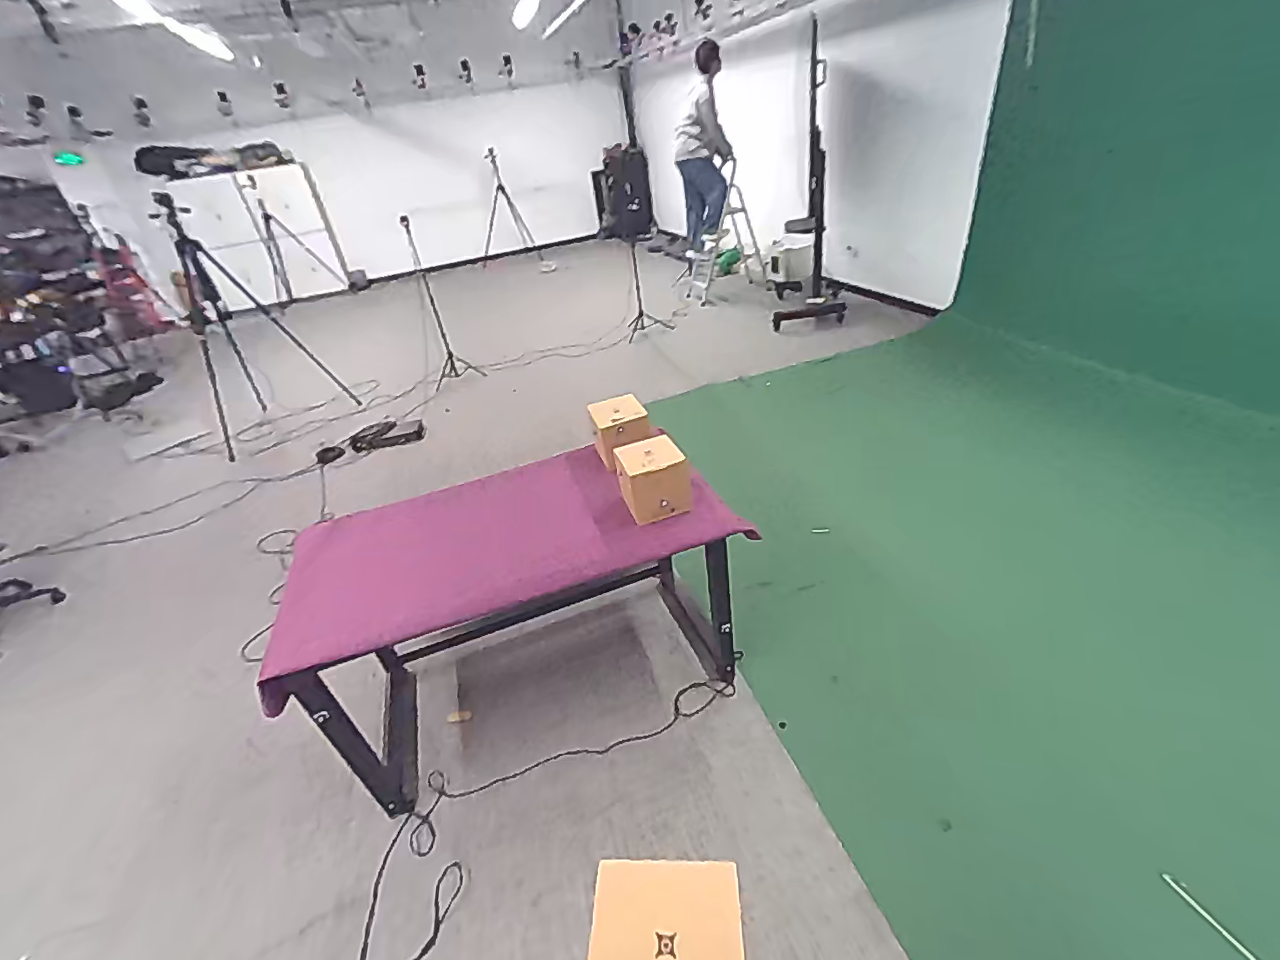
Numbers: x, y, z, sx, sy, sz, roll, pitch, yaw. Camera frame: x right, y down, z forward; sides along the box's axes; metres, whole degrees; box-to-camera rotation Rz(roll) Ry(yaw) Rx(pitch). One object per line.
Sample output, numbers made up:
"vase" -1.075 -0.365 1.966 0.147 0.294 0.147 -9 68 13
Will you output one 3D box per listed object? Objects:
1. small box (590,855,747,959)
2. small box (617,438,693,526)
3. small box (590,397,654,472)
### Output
"small box" 0.035 0.560 0.605 0.168 0.176 0.179 -3 29 5
"small box" 0.042 0.004 1.543 0.168 0.176 0.179 -16 32 -9
"small box" -0.057 -0.152 1.806 0.168 0.176 0.179 -18 35 -10
